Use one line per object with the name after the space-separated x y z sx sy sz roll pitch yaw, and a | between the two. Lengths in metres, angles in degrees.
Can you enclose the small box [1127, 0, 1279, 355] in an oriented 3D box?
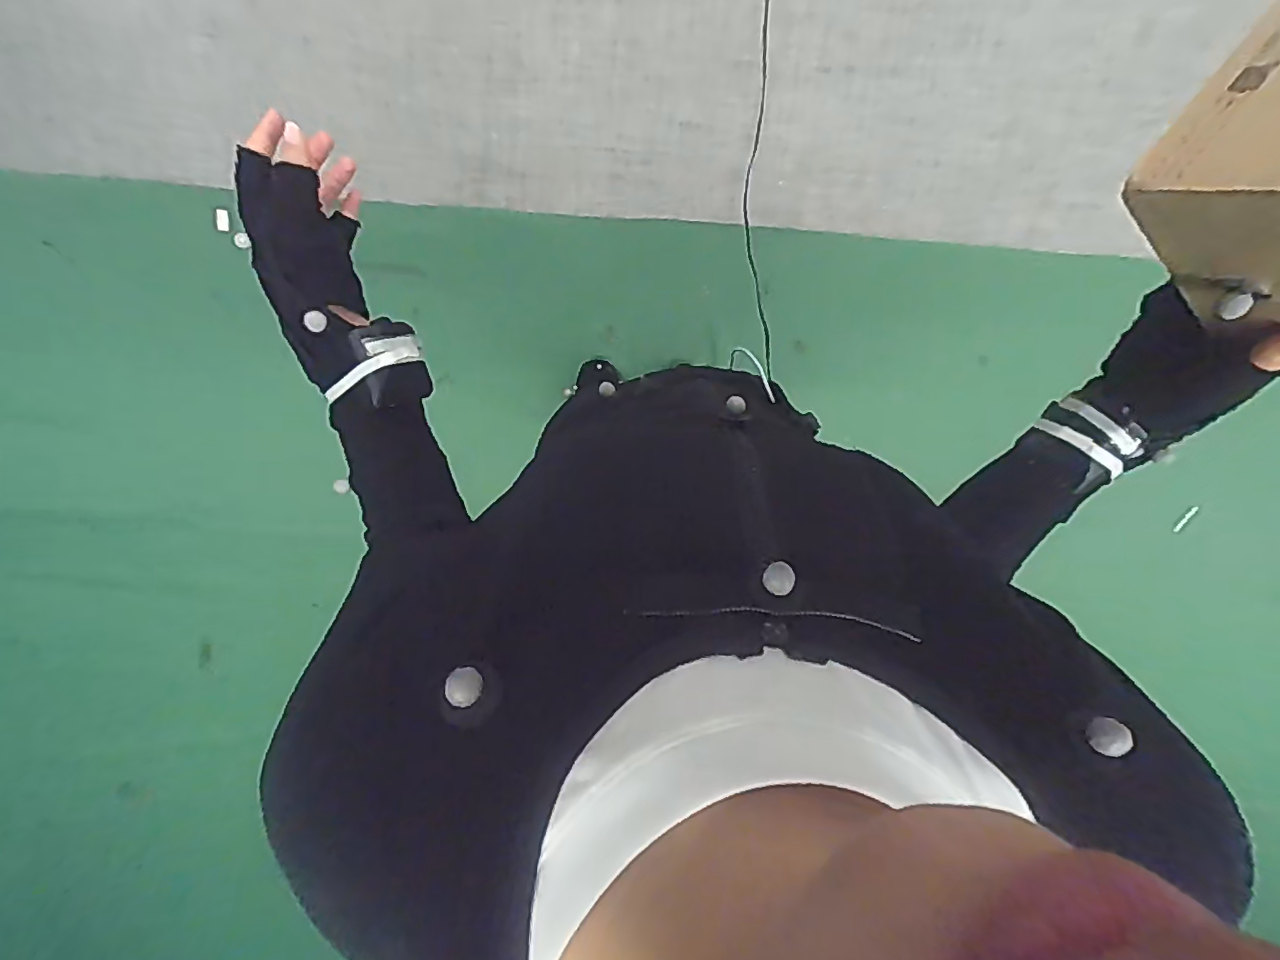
0.396 -0.153 0.250 0.179 0.176 0.168 27 107 -27 | small box
